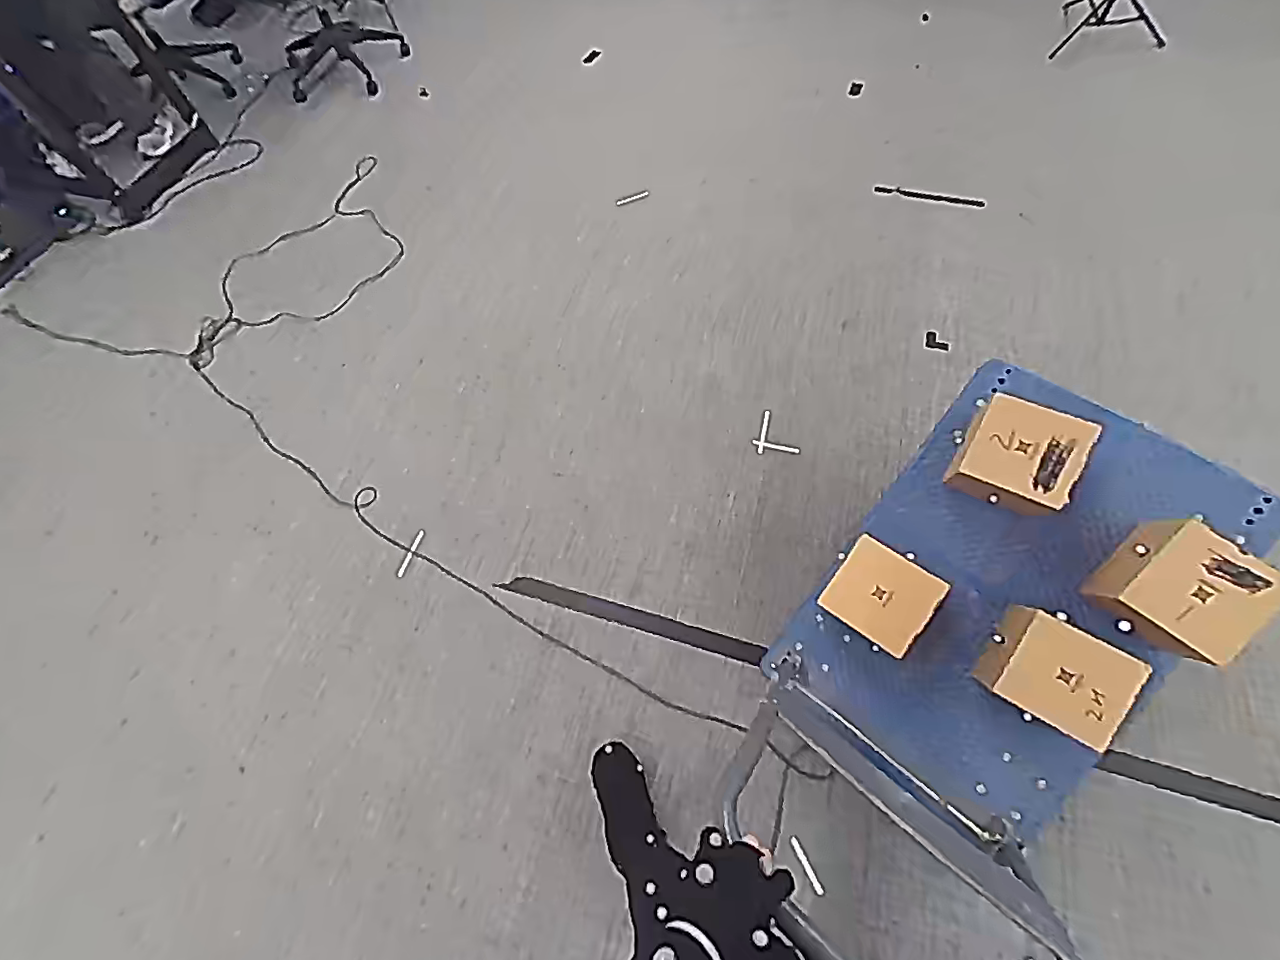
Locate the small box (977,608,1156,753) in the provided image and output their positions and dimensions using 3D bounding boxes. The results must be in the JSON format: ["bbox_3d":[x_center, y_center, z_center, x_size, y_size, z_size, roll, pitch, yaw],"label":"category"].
[{"bbox_3d":[0.747,0.346,0.974,0.179,0.176,0.168,30,93,22],"label":"small box"}]

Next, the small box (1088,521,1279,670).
[{"bbox_3d":[0.933,0.191,0.931,0.168,0.176,0.179,41,97,21],"label":"small box"}]

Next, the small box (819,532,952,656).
[{"bbox_3d":[0.482,0.225,1.090,0.179,0.176,0.168,34,94,20],"label":"small box"}]
